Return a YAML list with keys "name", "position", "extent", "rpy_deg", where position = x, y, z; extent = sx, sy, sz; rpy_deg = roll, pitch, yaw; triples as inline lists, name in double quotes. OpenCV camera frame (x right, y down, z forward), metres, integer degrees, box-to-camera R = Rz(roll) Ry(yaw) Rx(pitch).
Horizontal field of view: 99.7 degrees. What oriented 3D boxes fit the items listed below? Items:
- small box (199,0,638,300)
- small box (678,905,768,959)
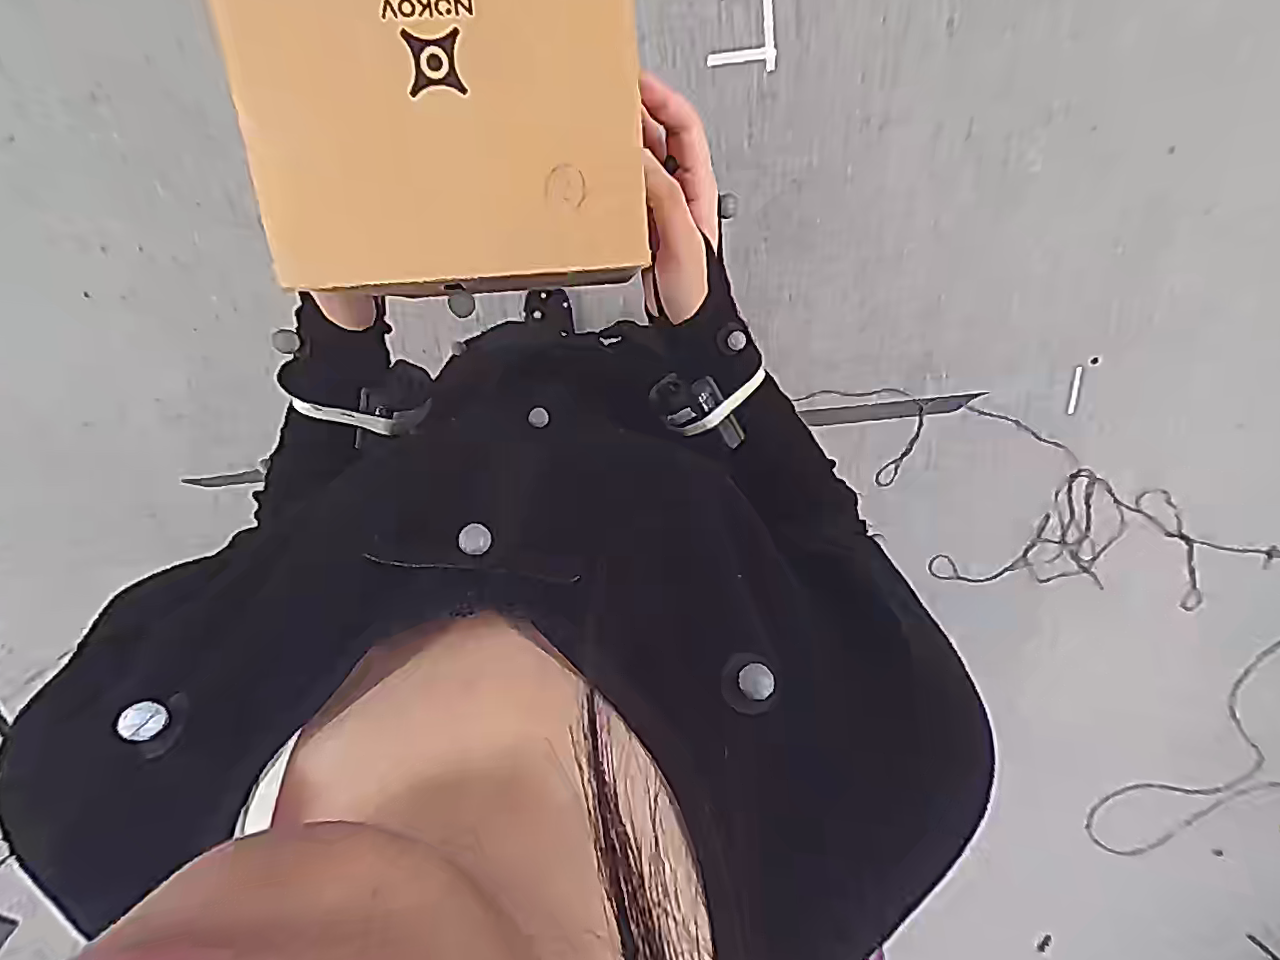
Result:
- name: "small box"
  position: [-0.089, -0.193, 0.292]
  extent: [0.168, 0.176, 0.179]
  rpy_deg: [-5, 107, -2]
- name: "small box"
  position: [0.168, 0.981, 1.057]
  extent: [0.168, 0.176, 0.179]
  rpy_deg: [-5, 110, -3]
